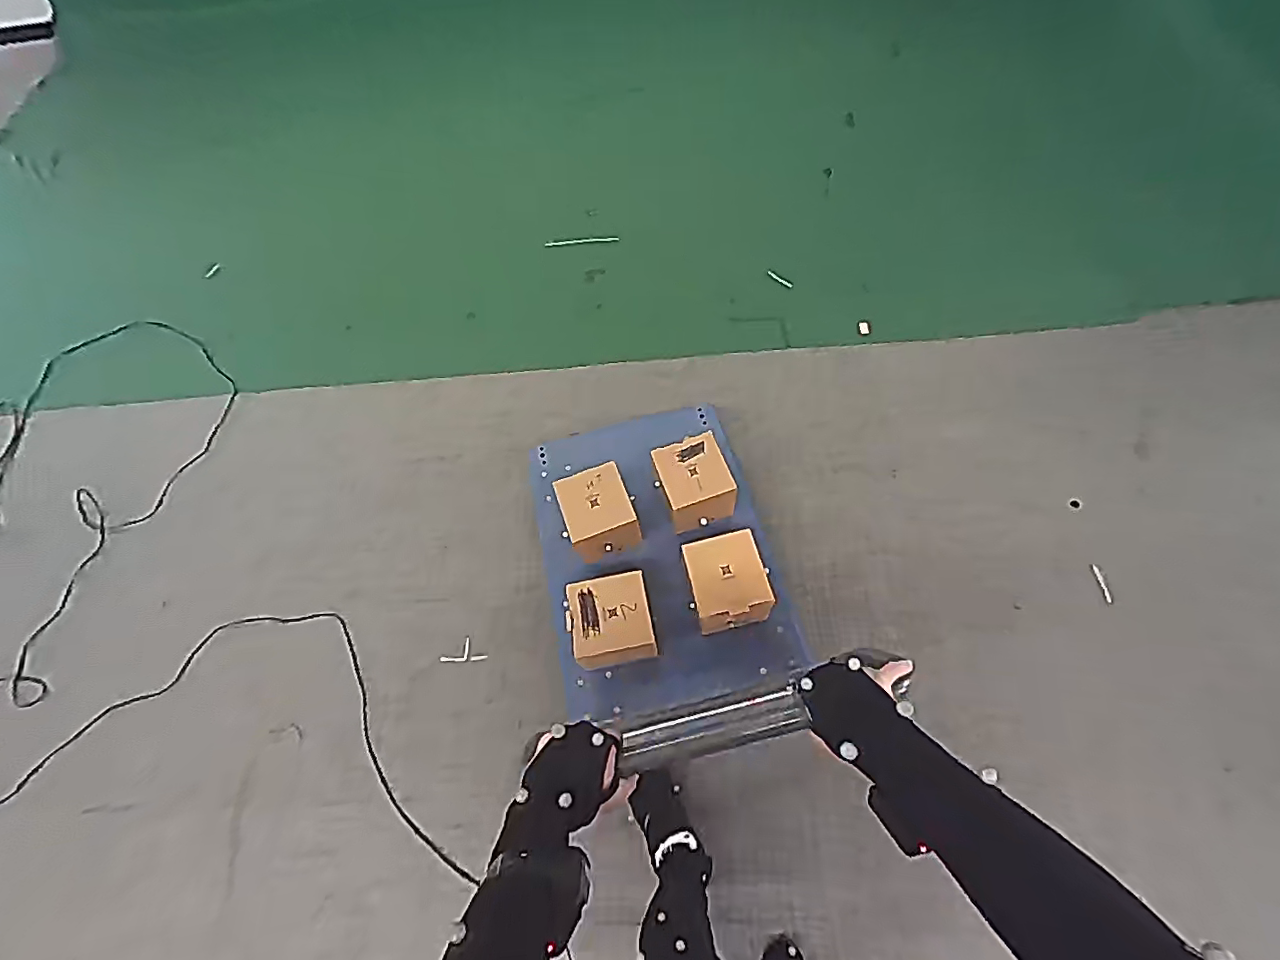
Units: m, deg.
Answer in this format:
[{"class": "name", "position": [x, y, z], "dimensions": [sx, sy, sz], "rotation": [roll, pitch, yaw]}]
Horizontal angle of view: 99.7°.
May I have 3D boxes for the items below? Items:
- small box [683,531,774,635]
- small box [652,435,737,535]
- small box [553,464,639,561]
[{"class": "small box", "position": [0.199, 0.246, 1.275], "dimensions": [0.168, 0.176, 0.179], "rotation": [-14, 62, -2]}, {"class": "small box", "position": [0.136, 0.017, 1.400], "dimensions": [0.168, 0.176, 0.179], "rotation": [-18, 63, -4]}, {"class": "small box", "position": [-0.106, 0.093, 1.381], "dimensions": [0.168, 0.176, 0.179], "rotation": [-19, 63, -6]}]
